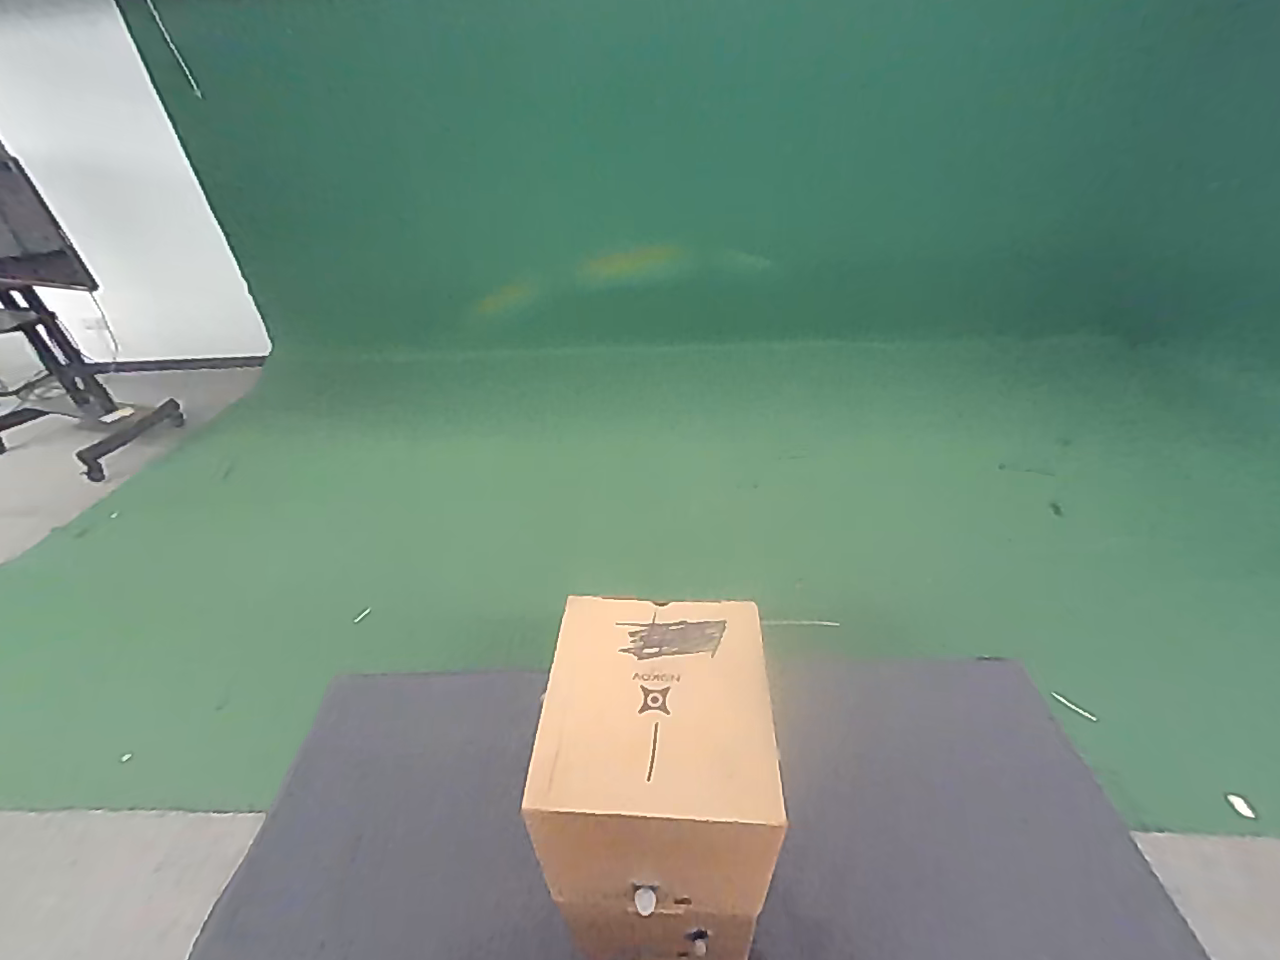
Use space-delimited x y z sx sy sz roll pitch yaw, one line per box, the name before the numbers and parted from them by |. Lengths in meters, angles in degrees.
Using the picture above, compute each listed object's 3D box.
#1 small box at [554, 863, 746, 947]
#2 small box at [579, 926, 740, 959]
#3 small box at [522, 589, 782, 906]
small box | 0.018 0.341 0.549 0.168 0.176 0.179 0 36 3
small box | 0.030 0.470 0.647 0.168 0.176 0.179 0 38 5
small box | 0.014 0.213 0.446 0.168 0.176 0.179 1 39 5
